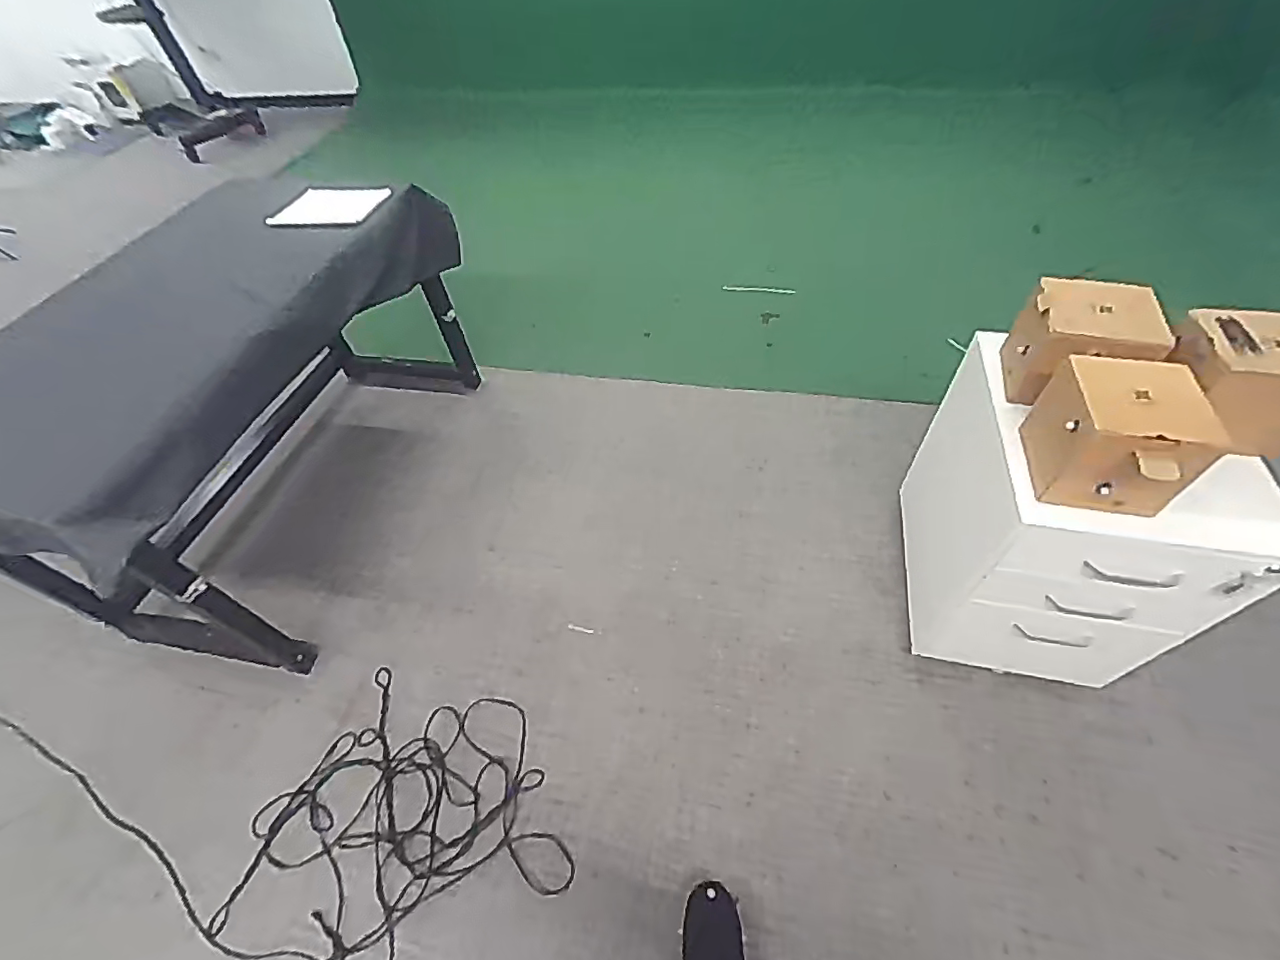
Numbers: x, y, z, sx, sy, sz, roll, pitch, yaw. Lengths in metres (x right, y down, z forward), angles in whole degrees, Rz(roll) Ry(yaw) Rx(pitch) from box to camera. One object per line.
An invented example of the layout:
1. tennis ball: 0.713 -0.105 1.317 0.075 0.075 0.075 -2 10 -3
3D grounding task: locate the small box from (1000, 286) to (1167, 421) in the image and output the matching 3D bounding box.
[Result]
1. small box: 0.788 -0.228 0.989 0.179 0.176 0.168 12 54 13
